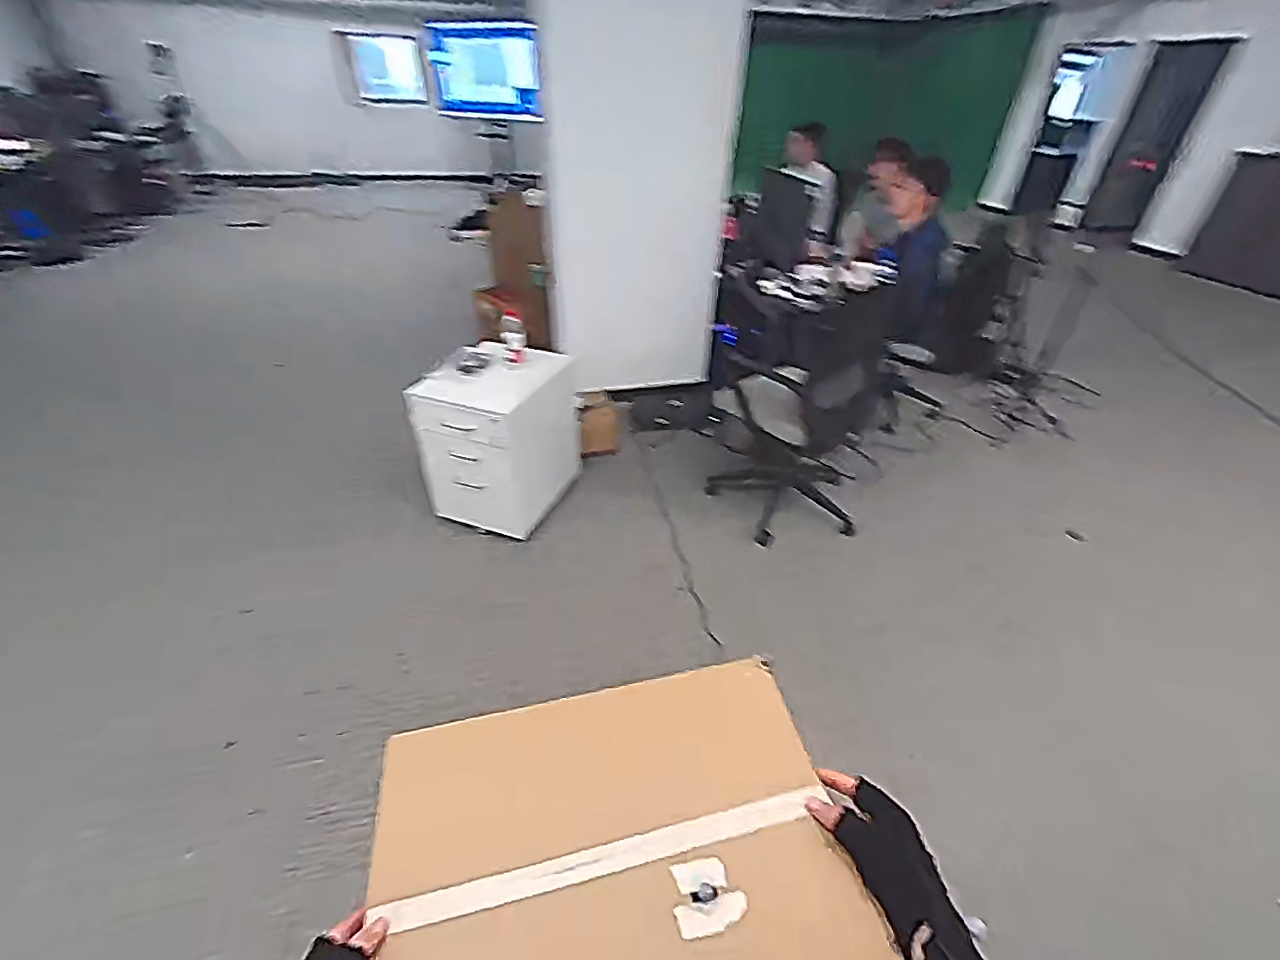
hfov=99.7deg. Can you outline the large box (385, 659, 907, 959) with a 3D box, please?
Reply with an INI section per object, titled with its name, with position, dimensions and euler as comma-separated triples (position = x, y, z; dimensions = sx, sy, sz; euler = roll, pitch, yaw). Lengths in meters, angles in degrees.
[large box]
position = -0.018, 0.445, 0.572
dimensions = 0.408, 0.320, 0.320
euler = -7, 40, -11
